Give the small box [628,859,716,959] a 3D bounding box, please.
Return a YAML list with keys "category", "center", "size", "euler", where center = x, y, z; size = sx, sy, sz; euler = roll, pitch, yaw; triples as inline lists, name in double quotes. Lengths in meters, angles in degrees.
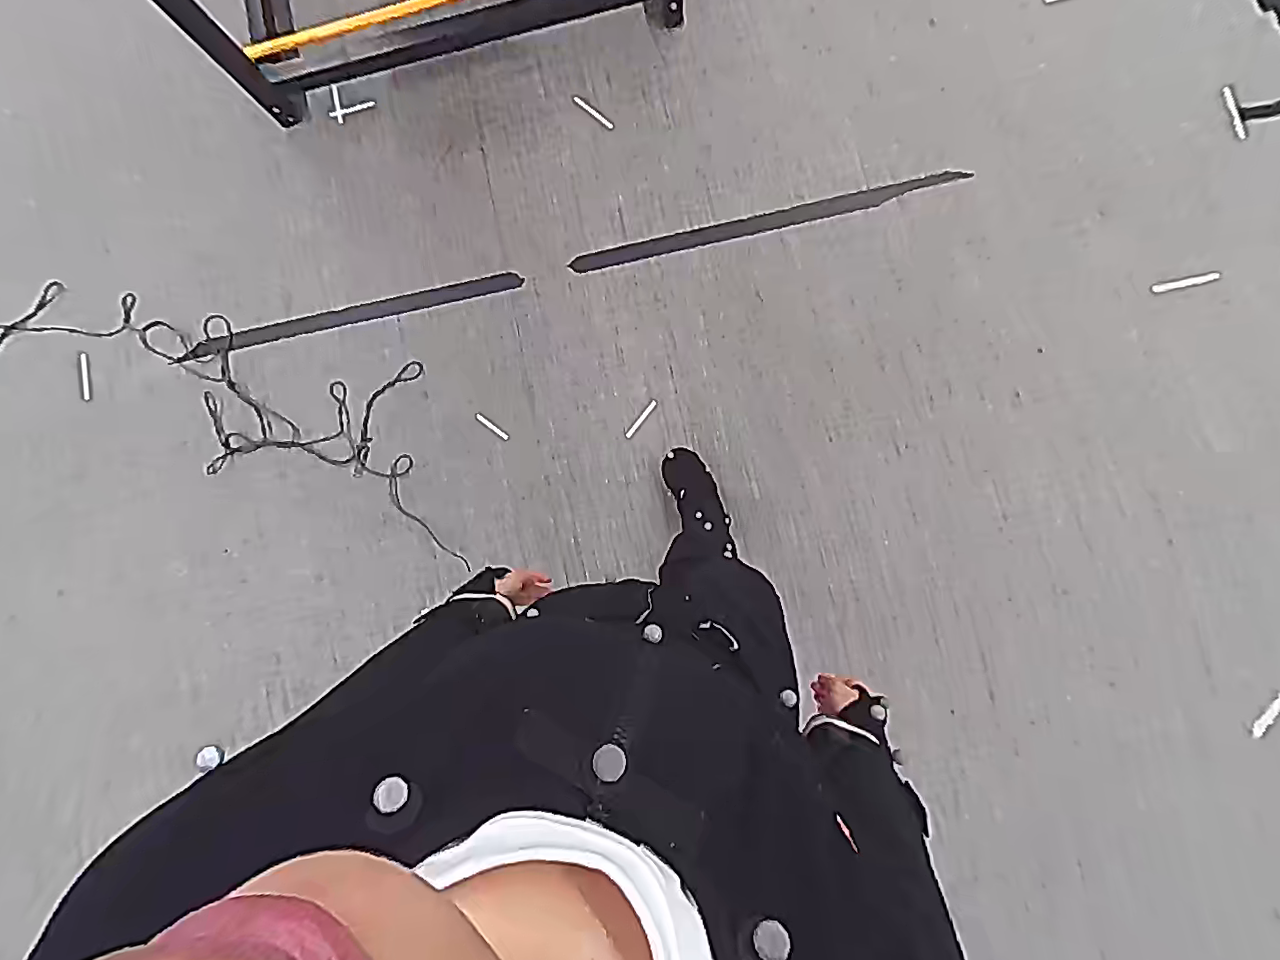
- category: "small box"
  center: [0.073, 1.021, 1.233]
  size: [0.168, 0.176, 0.179]
  euler: [-14, 85, 3]
